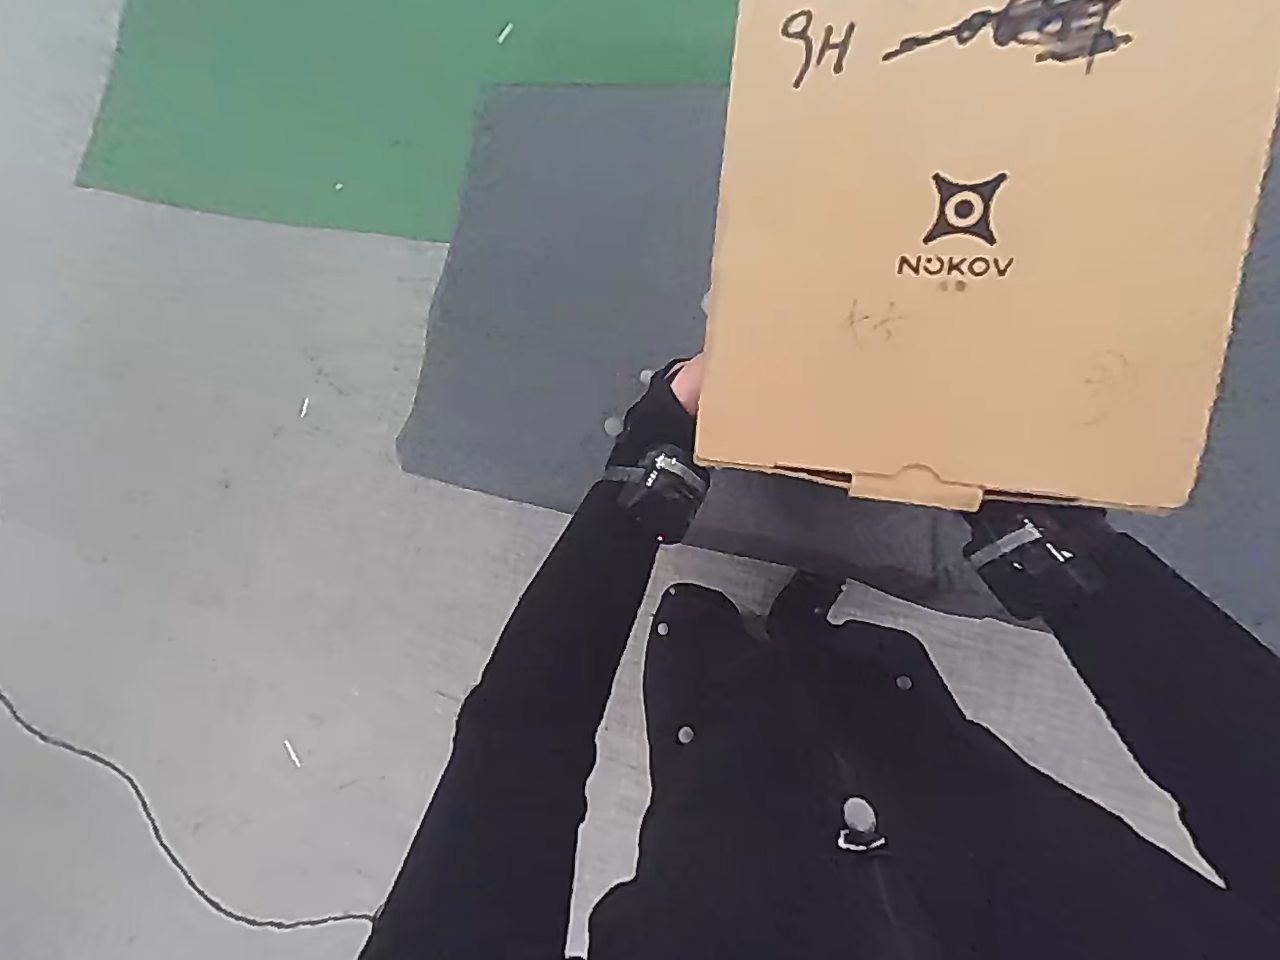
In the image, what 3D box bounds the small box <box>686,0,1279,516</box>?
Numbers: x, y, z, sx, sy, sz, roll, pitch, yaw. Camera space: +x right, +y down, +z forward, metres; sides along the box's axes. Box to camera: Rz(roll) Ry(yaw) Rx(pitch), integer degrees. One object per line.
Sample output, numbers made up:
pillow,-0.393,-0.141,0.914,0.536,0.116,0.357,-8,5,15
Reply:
small box,0.123,-0.094,0.262,0.168,0.176,0.179,7,99,12
